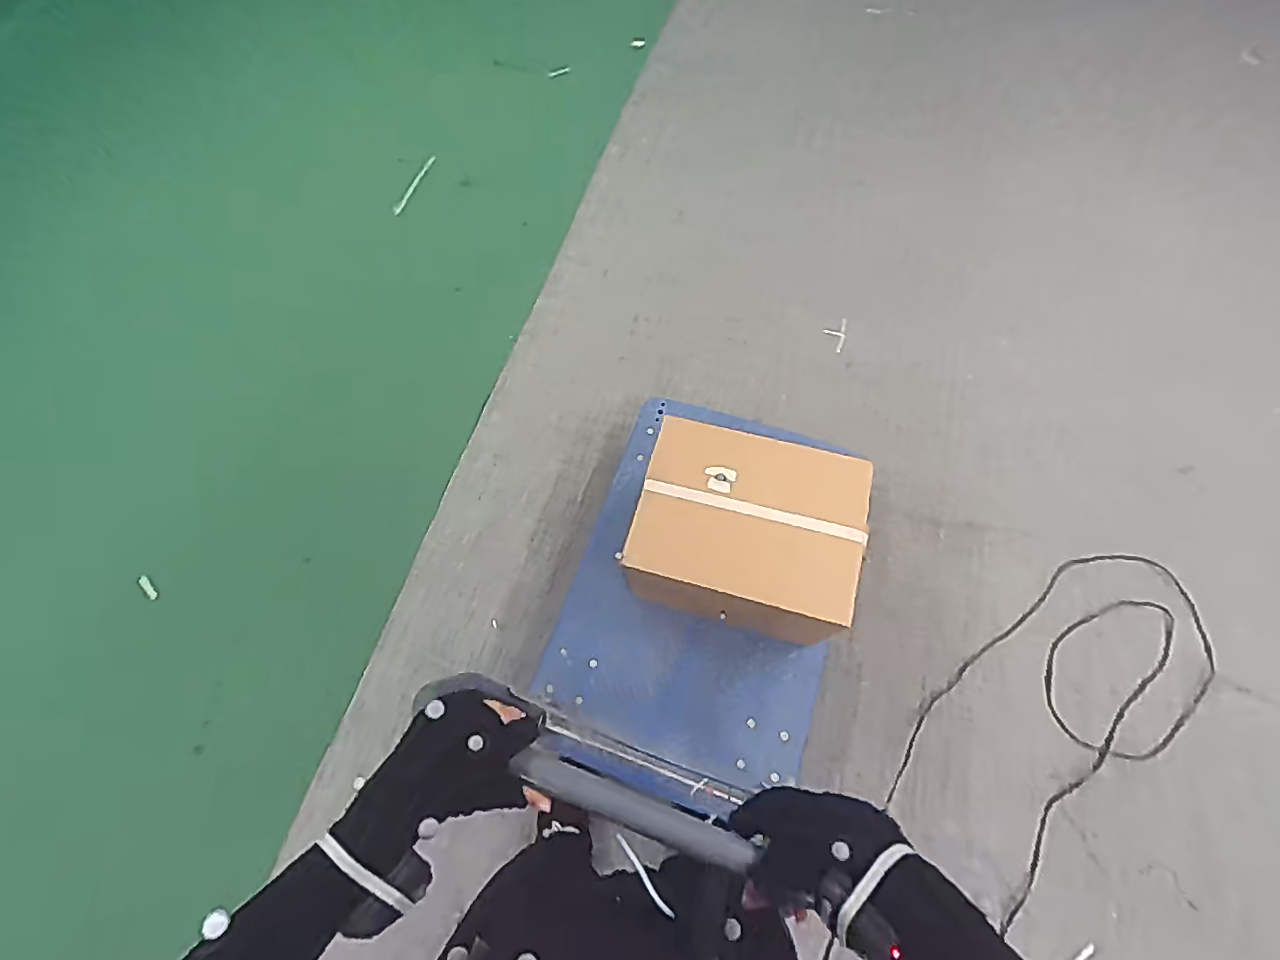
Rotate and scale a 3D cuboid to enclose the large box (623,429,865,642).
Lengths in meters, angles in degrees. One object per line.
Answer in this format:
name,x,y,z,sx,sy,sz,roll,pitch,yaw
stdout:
large box,0.210,0.129,1.133,0.408,0.320,0.320,13,68,10
